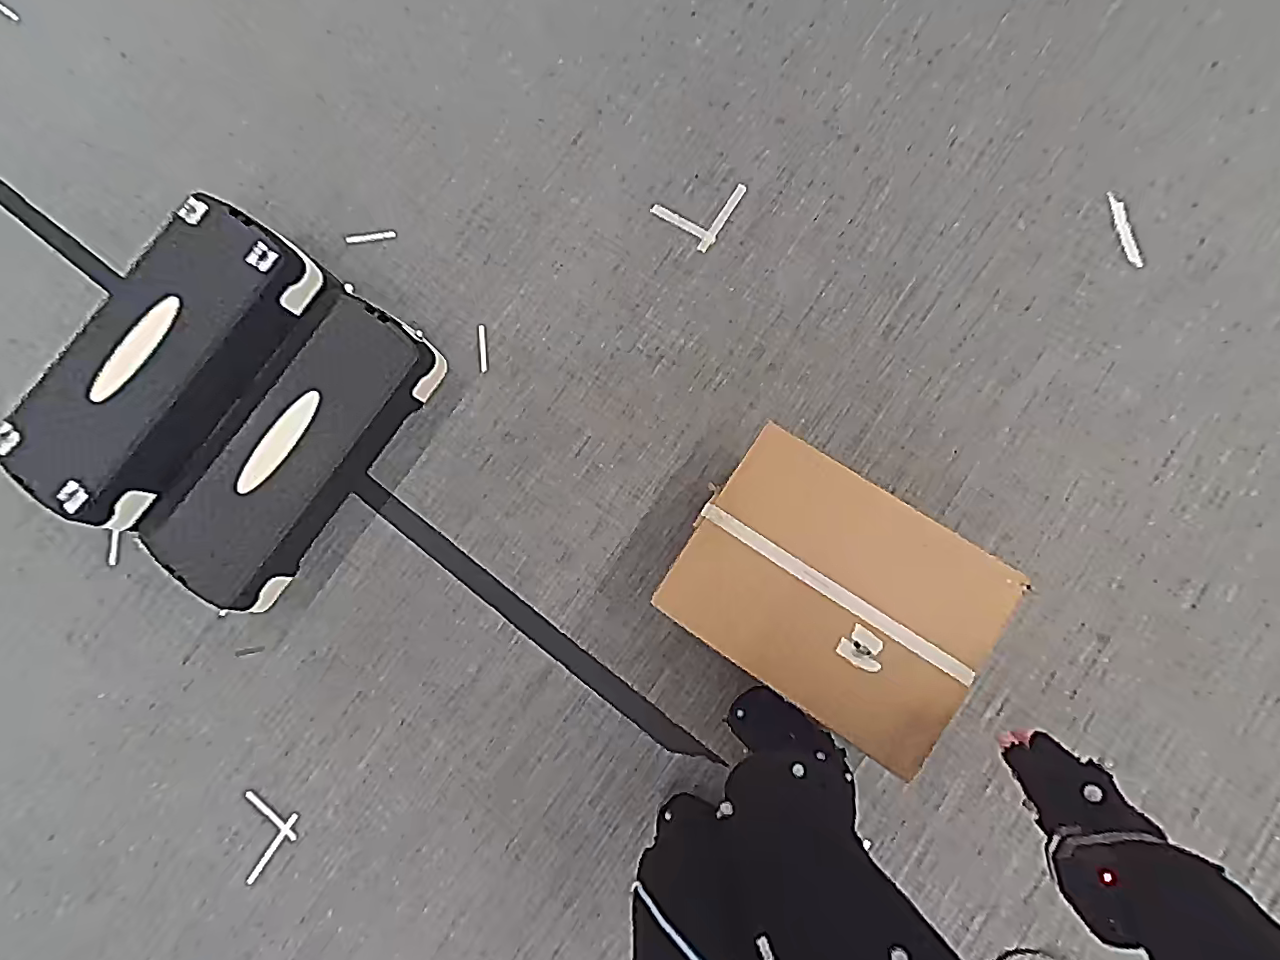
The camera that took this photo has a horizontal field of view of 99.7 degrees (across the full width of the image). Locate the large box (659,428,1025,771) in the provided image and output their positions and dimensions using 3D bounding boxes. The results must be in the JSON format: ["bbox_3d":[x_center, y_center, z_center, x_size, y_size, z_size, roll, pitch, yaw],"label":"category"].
[{"bbox_3d":[0.282,0.172,0.886,0.408,0.320,0.320,33,87,9],"label":"large box"}]

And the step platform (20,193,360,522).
[{"bbox_3d":[-0.933,-0.251,1.146,0.286,0.204,0.684,33,85,10],"label":"step platform"}]
